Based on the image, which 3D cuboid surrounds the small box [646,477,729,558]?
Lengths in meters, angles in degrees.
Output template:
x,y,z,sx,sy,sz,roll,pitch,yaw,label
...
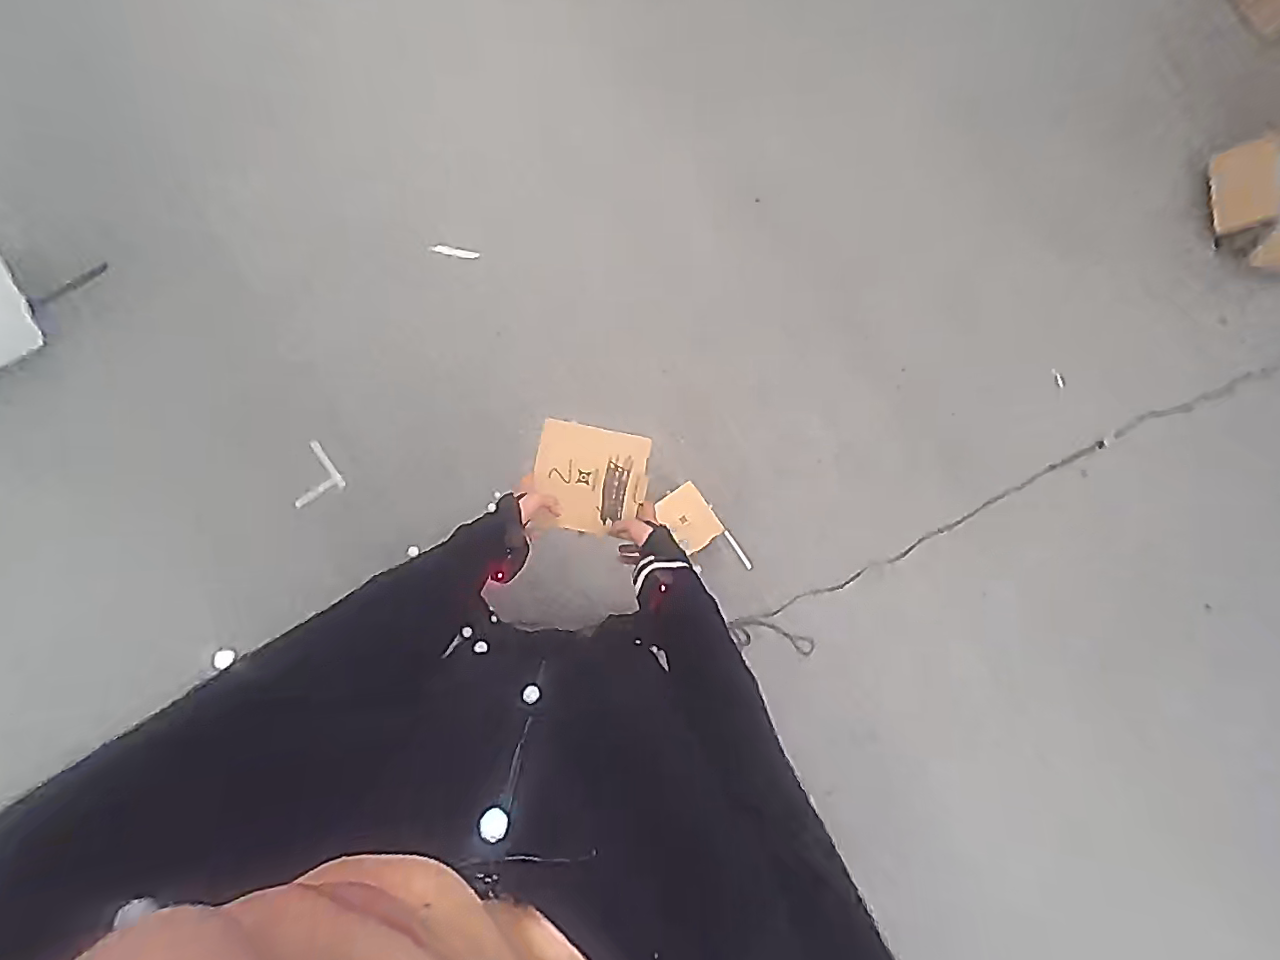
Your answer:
x,y,z,sx,sy,sz,roll,pitch,yaw,label
0.131,0.116,1.586,0.168,0.176,0.179,-35,86,-6,small box
